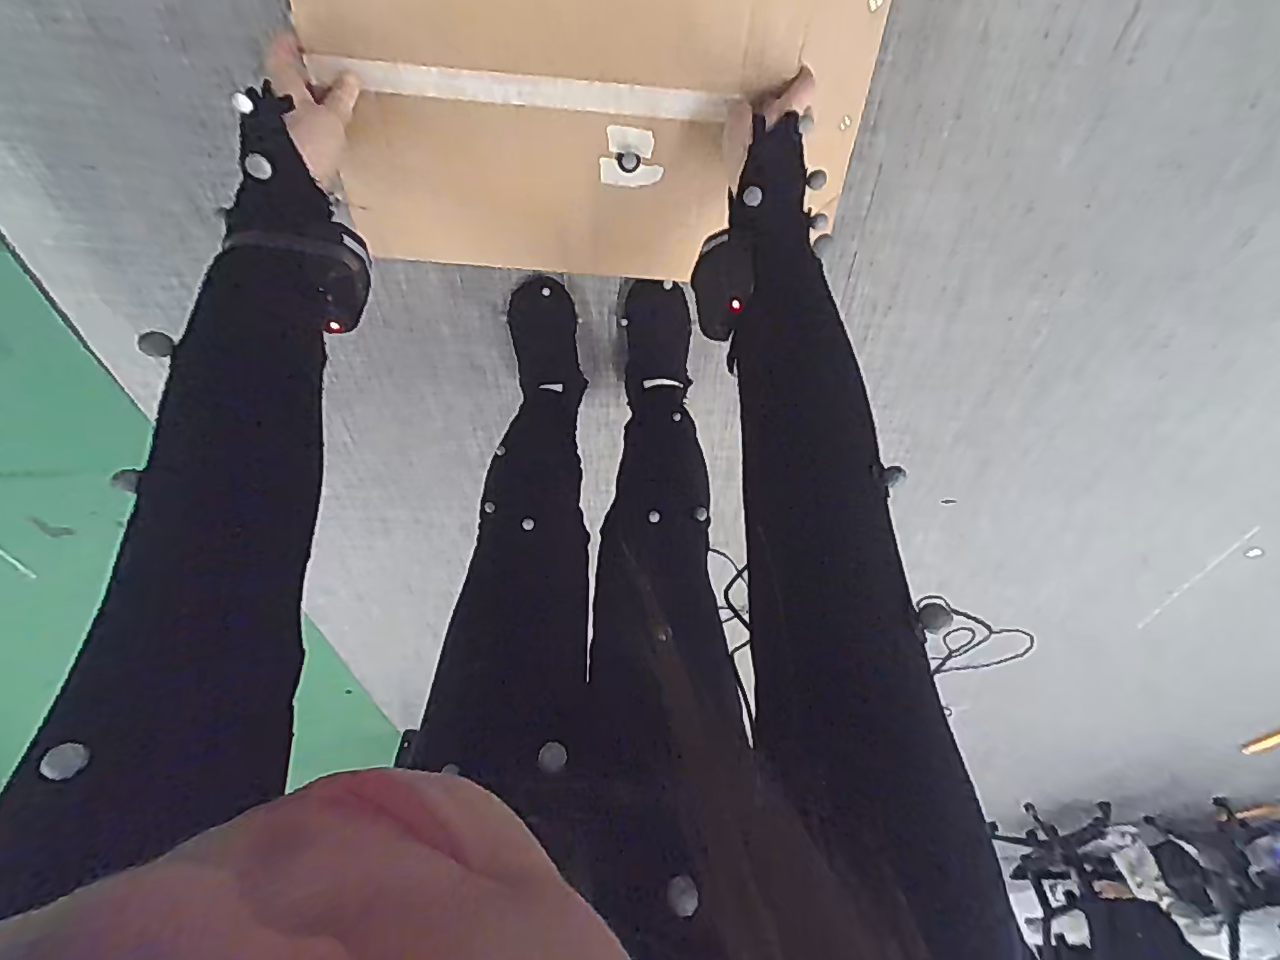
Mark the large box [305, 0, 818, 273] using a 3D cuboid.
[{"bbox_3d":[-0.068,-0.437,0.561,0.408,0.320,0.320,2,135,-4],"label":"large box"}]
